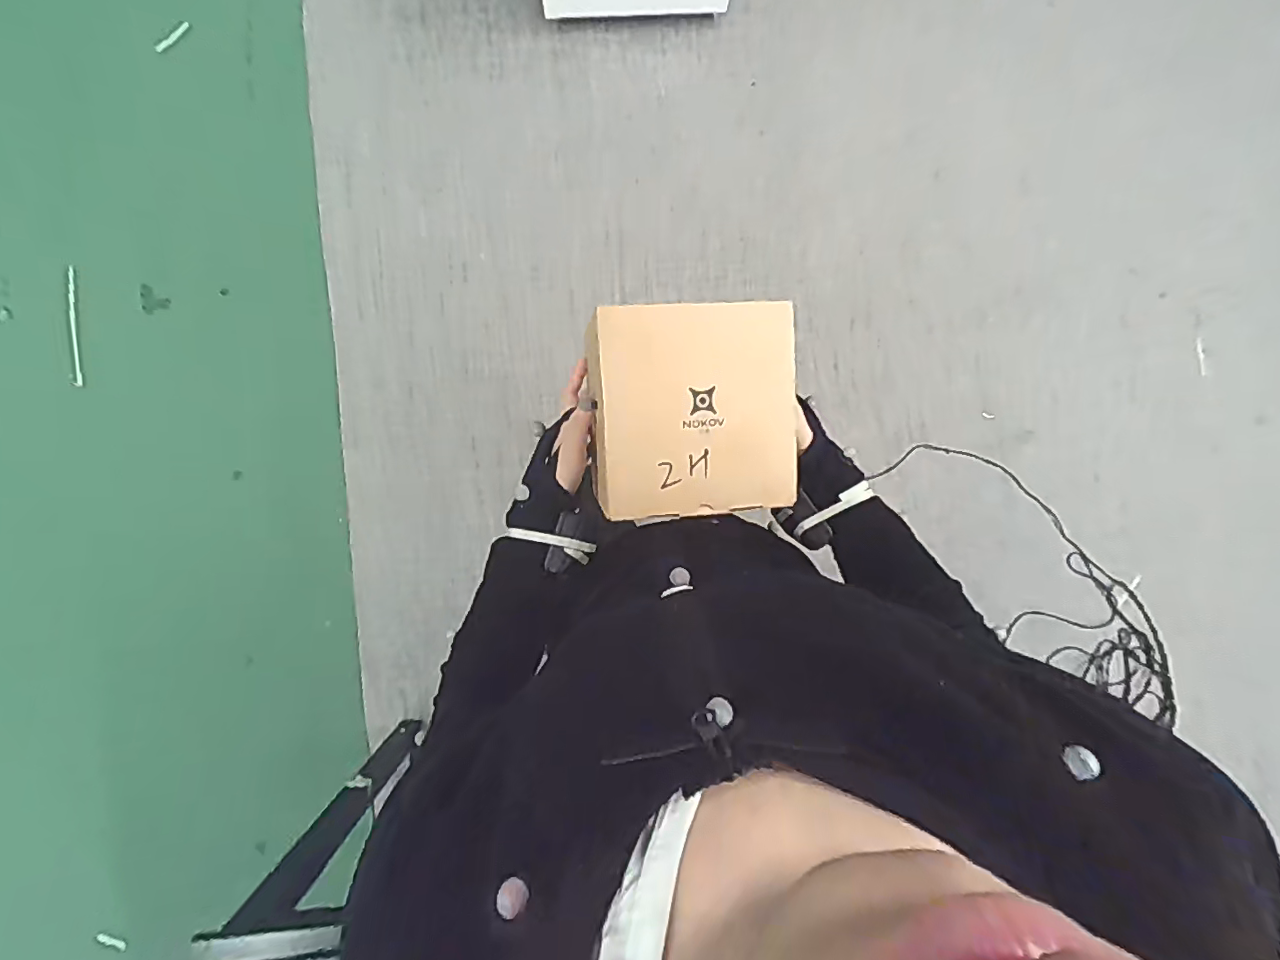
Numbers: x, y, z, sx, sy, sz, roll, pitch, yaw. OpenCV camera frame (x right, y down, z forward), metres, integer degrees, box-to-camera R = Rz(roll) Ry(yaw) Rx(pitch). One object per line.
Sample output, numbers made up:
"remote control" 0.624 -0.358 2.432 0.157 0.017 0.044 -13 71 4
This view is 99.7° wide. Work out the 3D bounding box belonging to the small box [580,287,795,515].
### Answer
"small box" 0.032 -0.070 0.507 0.168 0.176 0.179 -4 96 -8
